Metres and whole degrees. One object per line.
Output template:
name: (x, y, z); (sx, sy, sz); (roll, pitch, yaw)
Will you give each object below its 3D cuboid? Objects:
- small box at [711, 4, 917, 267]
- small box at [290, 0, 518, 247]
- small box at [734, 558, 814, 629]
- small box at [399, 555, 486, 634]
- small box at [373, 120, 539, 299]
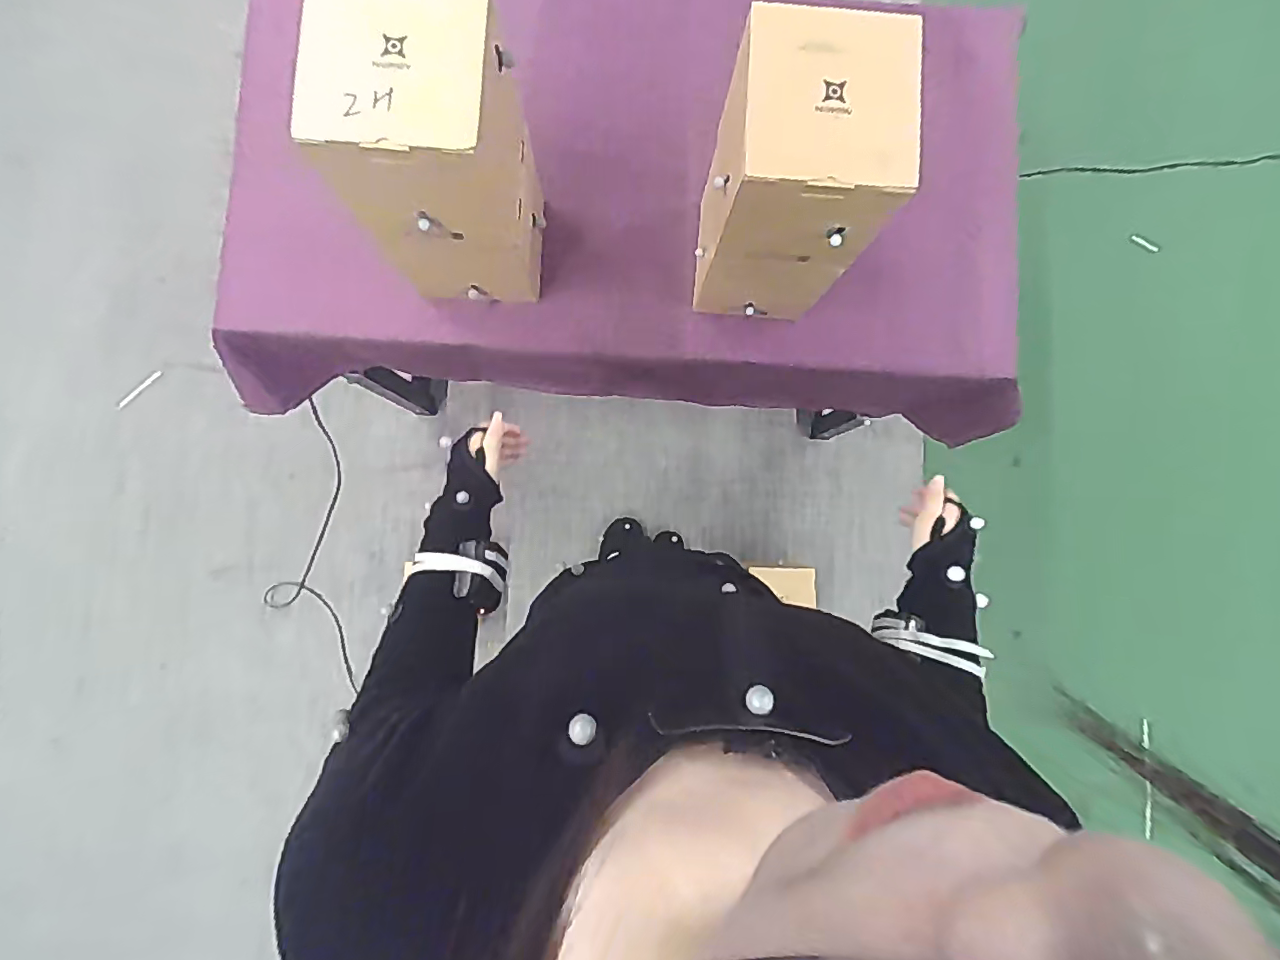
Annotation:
small box: (0.174, -0.352, 0.586); (0.168, 0.176, 0.179); (3, 86, -3)
small box: (-0.228, -0.375, 0.569); (0.168, 0.176, 0.179); (3, 86, -2)
small box: (0.351, 0.299, 1.445); (0.179, 0.176, 0.168); (1, 86, -3)
small box: (-0.506, 0.292, 1.408); (0.168, 0.176, 0.179); (4, 85, -2)
small box: (-0.235, -0.358, 0.734); (0.179, 0.176, 0.168); (1, 85, -3)
